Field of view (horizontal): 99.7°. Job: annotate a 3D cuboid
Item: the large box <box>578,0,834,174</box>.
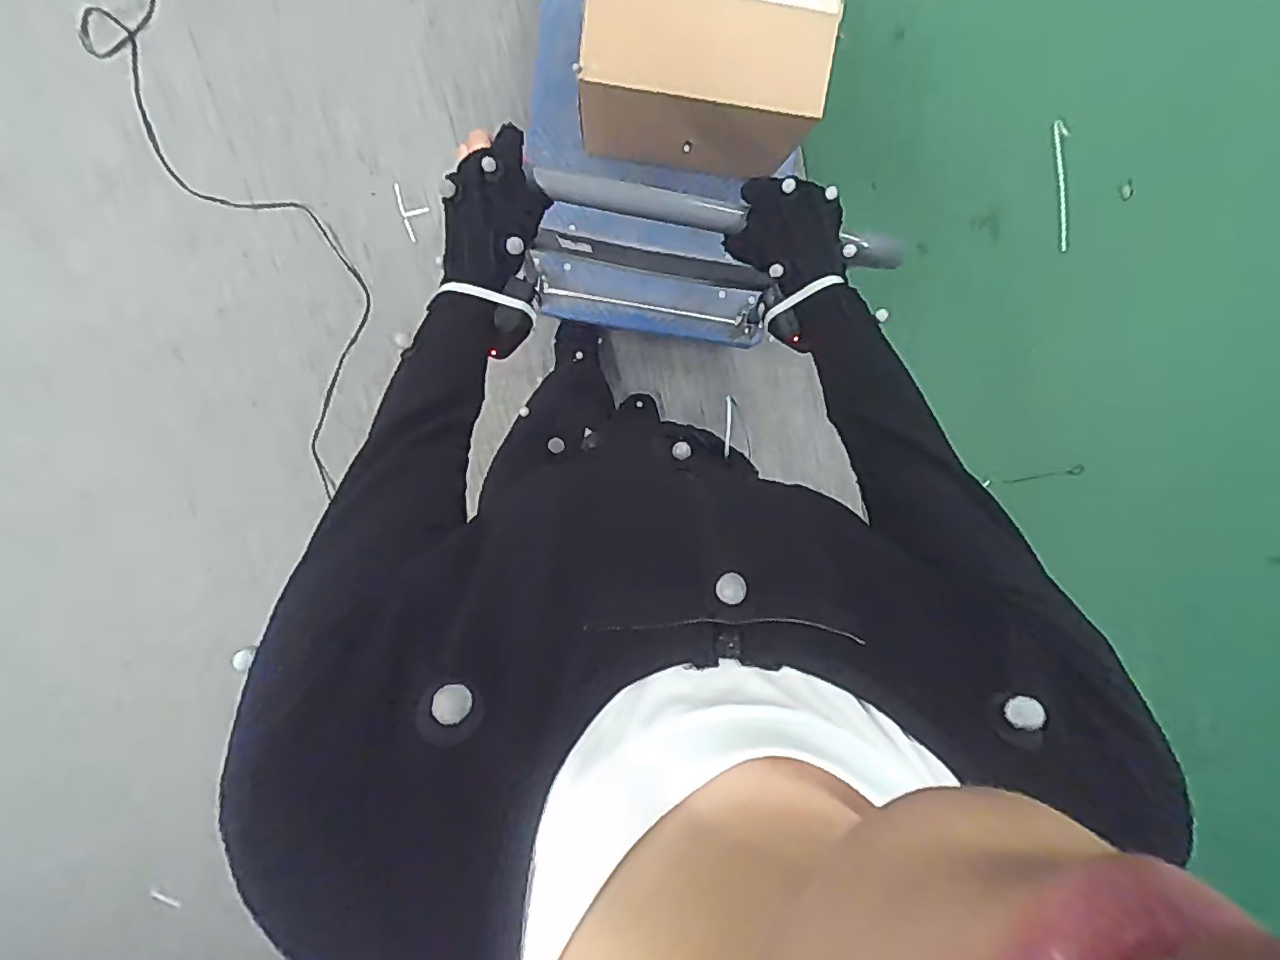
[{"bbox_3d":[0.105,-0.799,0.995,0.408,0.320,0.320,6,100,-5],"label":"large box"}]
